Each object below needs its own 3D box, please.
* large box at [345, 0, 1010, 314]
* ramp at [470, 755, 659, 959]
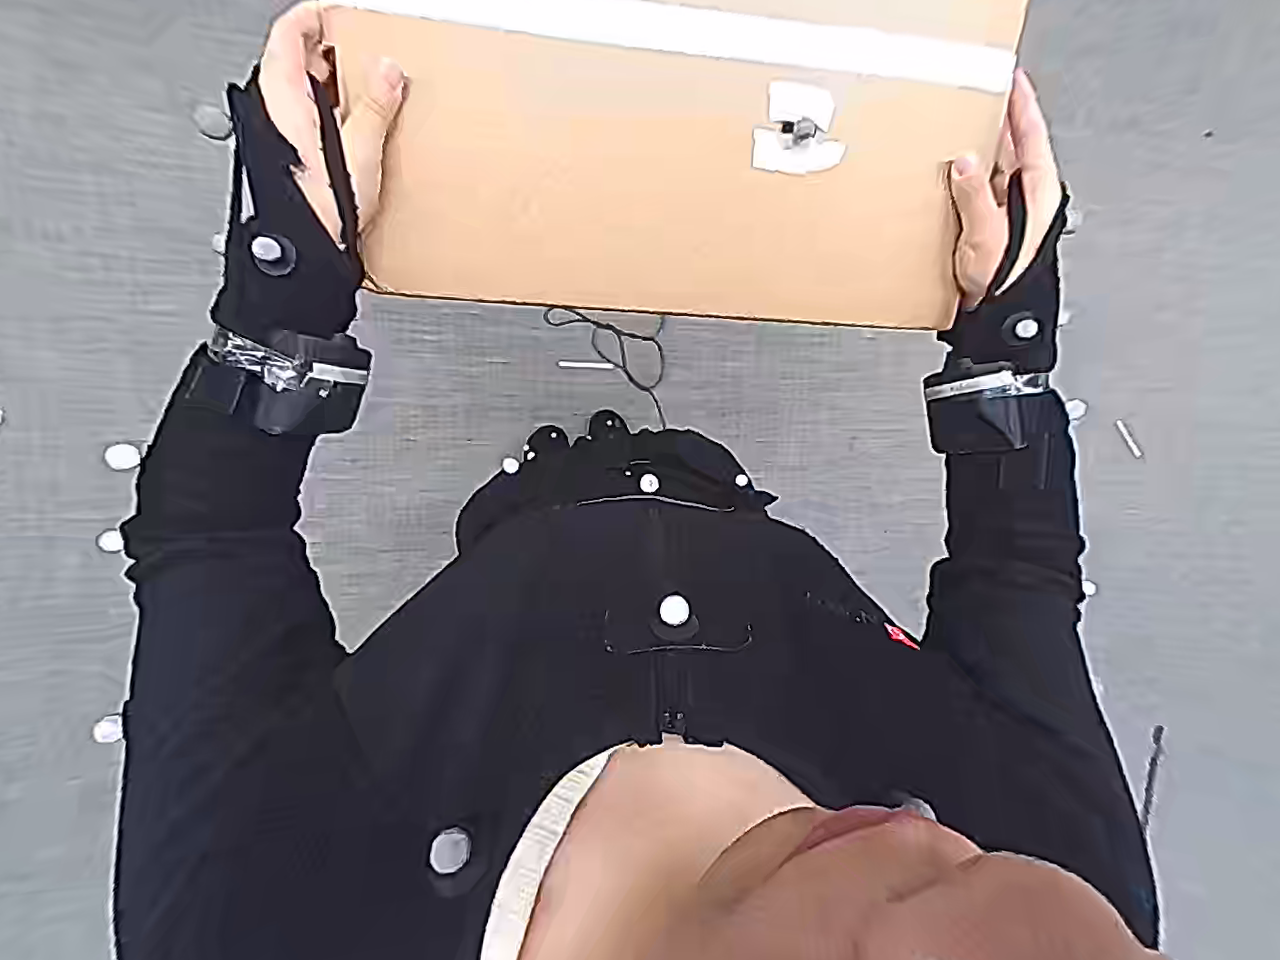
[{"bbox_3d":[0.011,-0.315,0.463,0.408,0.320,0.320,1,109,-9],"label":"large box"},{"bbox_3d":[-0.192,1.249,1.407,0.509,0.206,0.991,-1,95,-7],"label":"ramp"}]
